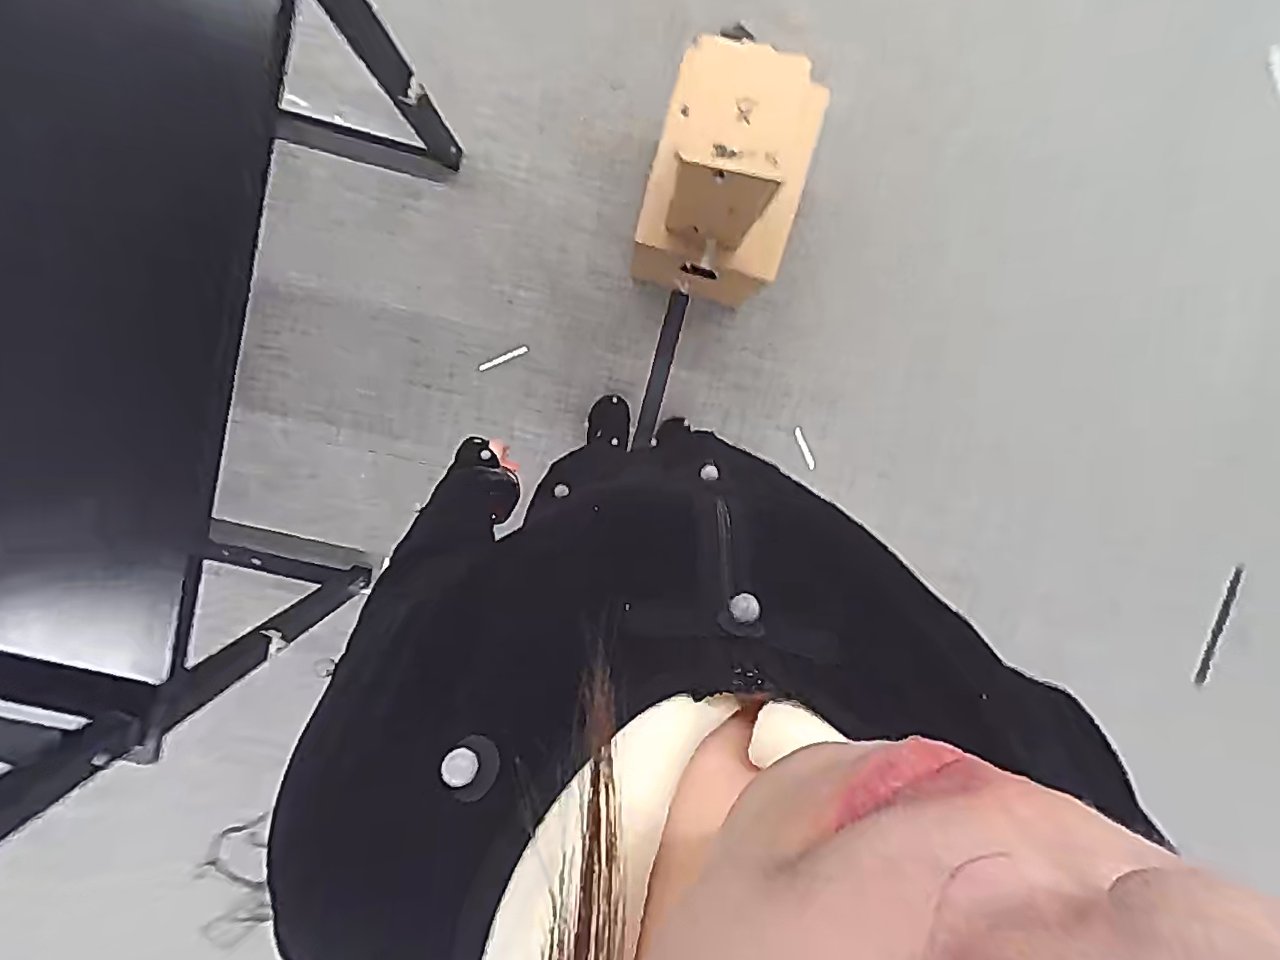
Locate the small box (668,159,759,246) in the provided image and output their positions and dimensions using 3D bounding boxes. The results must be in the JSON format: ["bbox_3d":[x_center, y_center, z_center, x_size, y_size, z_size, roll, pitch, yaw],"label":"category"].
[{"bbox_3d":[0.153,-0.575,1.030,0.168,0.176,0.179,15,97,-3],"label":"small box"}]

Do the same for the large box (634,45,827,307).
[{"bbox_3d":[0.183,-0.666,1.266,0.320,0.320,0.408,15,96,-5],"label":"large box"}]

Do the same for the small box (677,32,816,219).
[{"bbox_3d":[0.158,-0.553,0.868,0.168,0.176,0.179,11,96,-2],"label":"small box"}]
